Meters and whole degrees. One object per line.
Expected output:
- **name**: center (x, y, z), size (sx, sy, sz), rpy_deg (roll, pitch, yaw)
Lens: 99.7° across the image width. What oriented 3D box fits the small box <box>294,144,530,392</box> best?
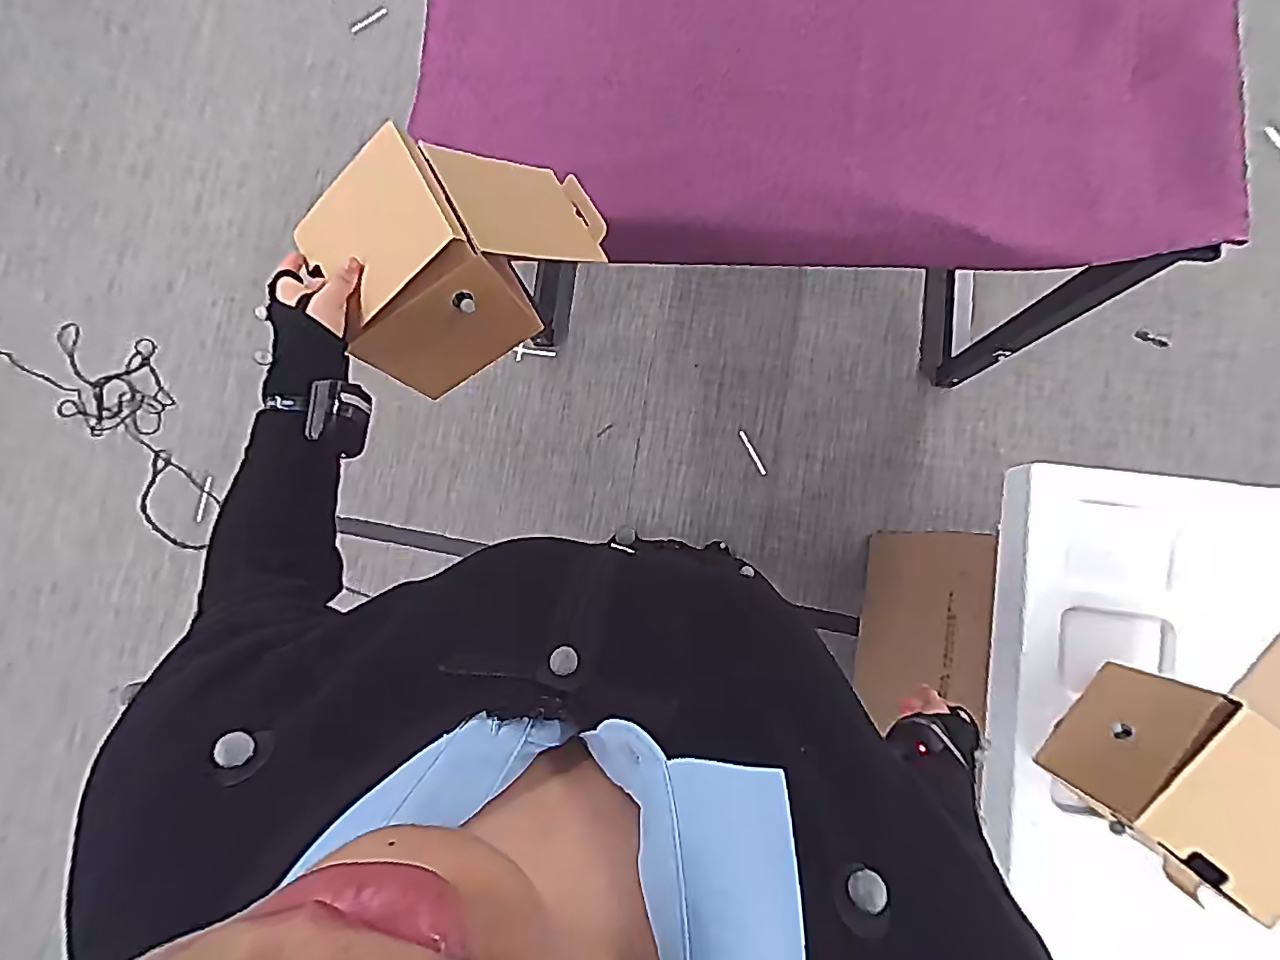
- **small box**: center (-0.252, -0.234, 0.640), size (0.179, 0.176, 0.168), rpy_deg (-31, 73, 6)
